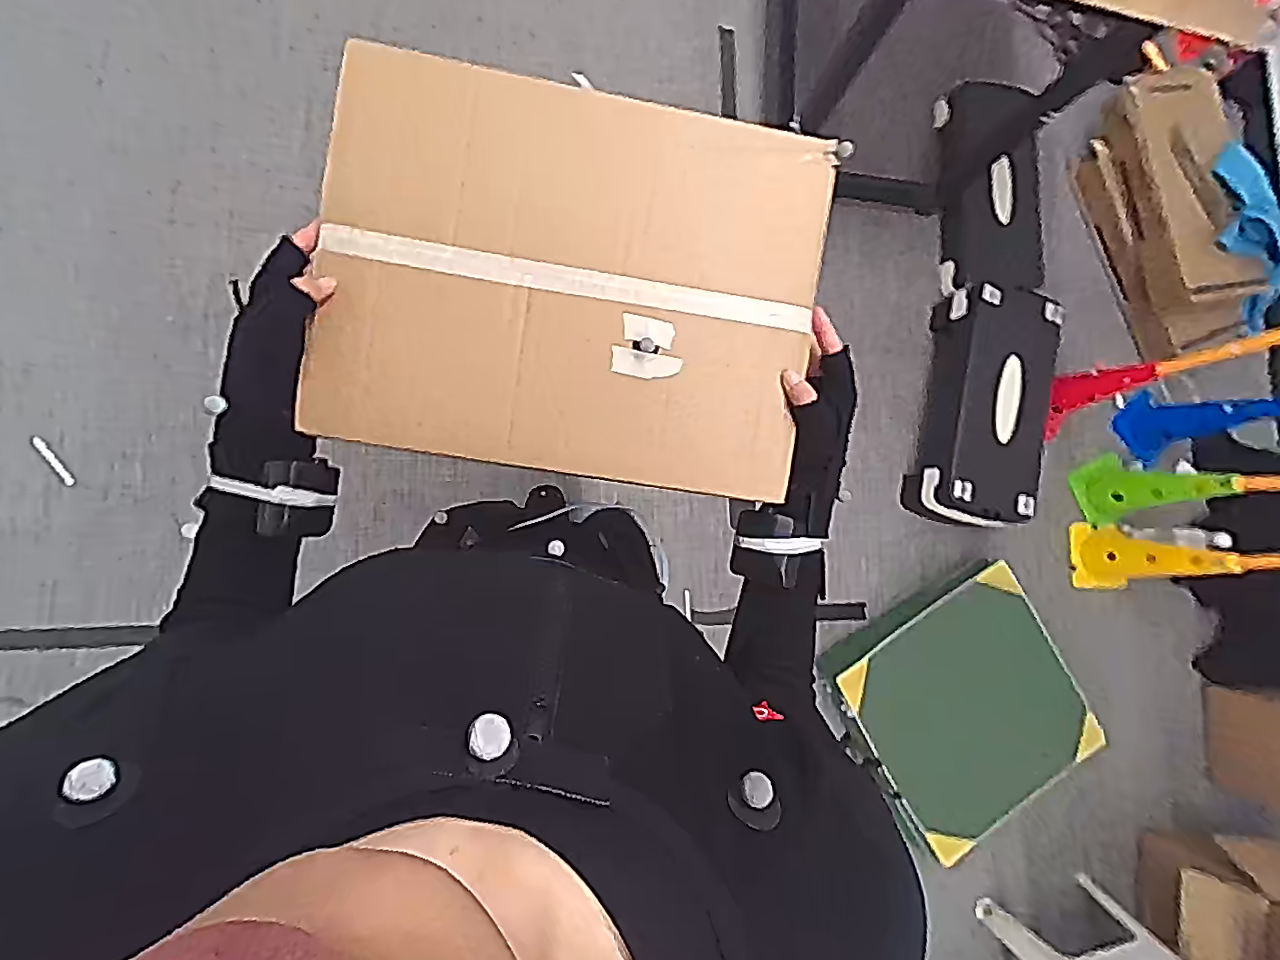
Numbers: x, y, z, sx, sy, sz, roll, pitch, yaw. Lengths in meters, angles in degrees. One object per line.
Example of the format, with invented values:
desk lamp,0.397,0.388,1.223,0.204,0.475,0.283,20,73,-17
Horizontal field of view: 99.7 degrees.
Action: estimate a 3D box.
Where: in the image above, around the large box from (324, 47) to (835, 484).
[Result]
large box,-0.060,-0.180,0.607,0.408,0.320,0.320,9,92,-6
